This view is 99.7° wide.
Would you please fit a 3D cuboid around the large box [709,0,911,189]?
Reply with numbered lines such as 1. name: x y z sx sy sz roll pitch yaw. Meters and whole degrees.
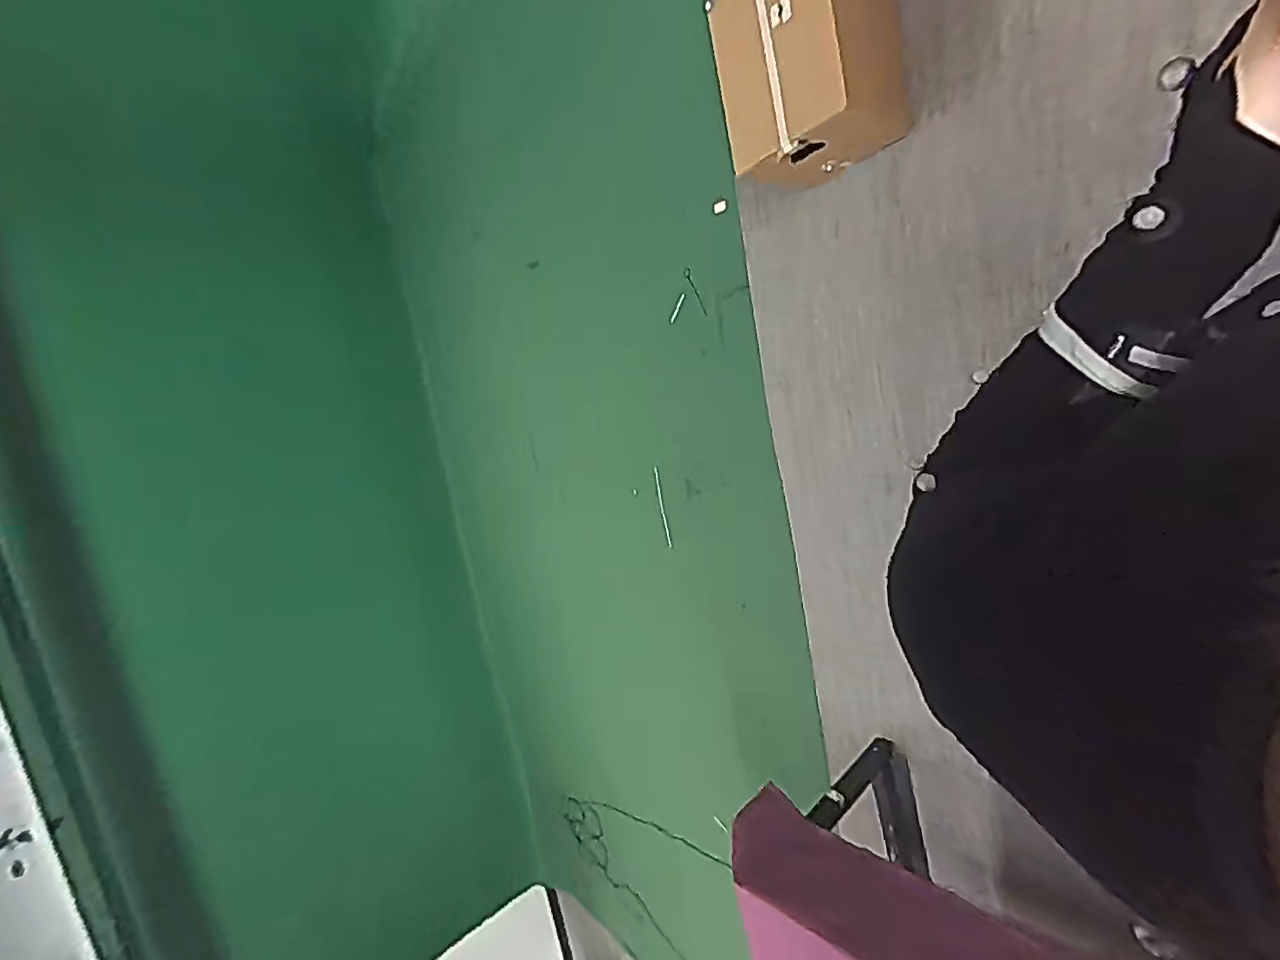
1. large box: 0.418 -1.002 1.330 0.320 0.320 0.408 -4 100 52
